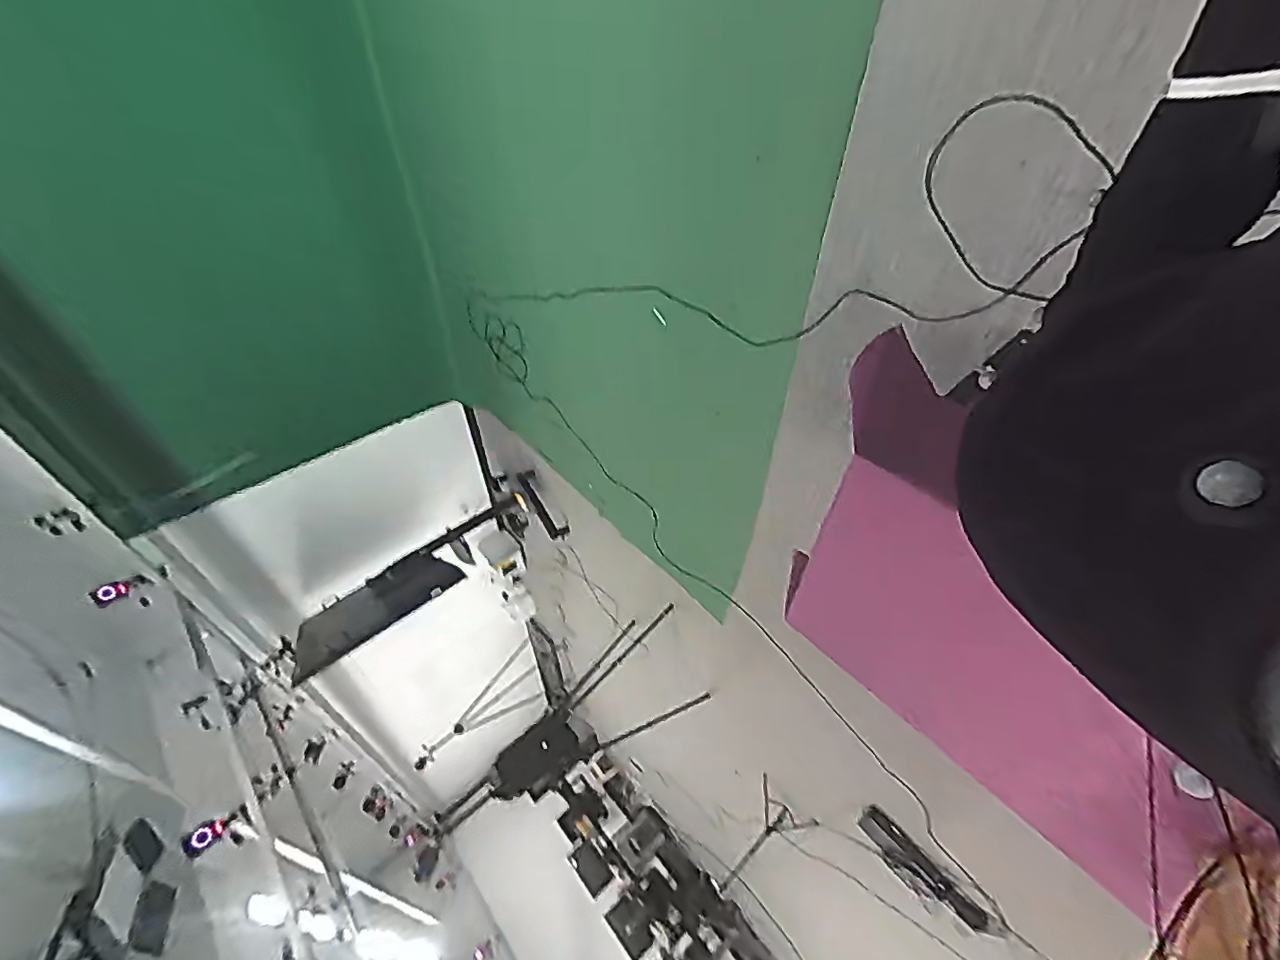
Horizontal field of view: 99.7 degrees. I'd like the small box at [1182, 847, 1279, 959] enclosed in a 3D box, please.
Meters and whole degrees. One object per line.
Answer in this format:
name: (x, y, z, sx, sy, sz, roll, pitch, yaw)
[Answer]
small box: (0.889, 0.621, 0.703, 0.179, 0.176, 0.168, 46, 149, 22)
